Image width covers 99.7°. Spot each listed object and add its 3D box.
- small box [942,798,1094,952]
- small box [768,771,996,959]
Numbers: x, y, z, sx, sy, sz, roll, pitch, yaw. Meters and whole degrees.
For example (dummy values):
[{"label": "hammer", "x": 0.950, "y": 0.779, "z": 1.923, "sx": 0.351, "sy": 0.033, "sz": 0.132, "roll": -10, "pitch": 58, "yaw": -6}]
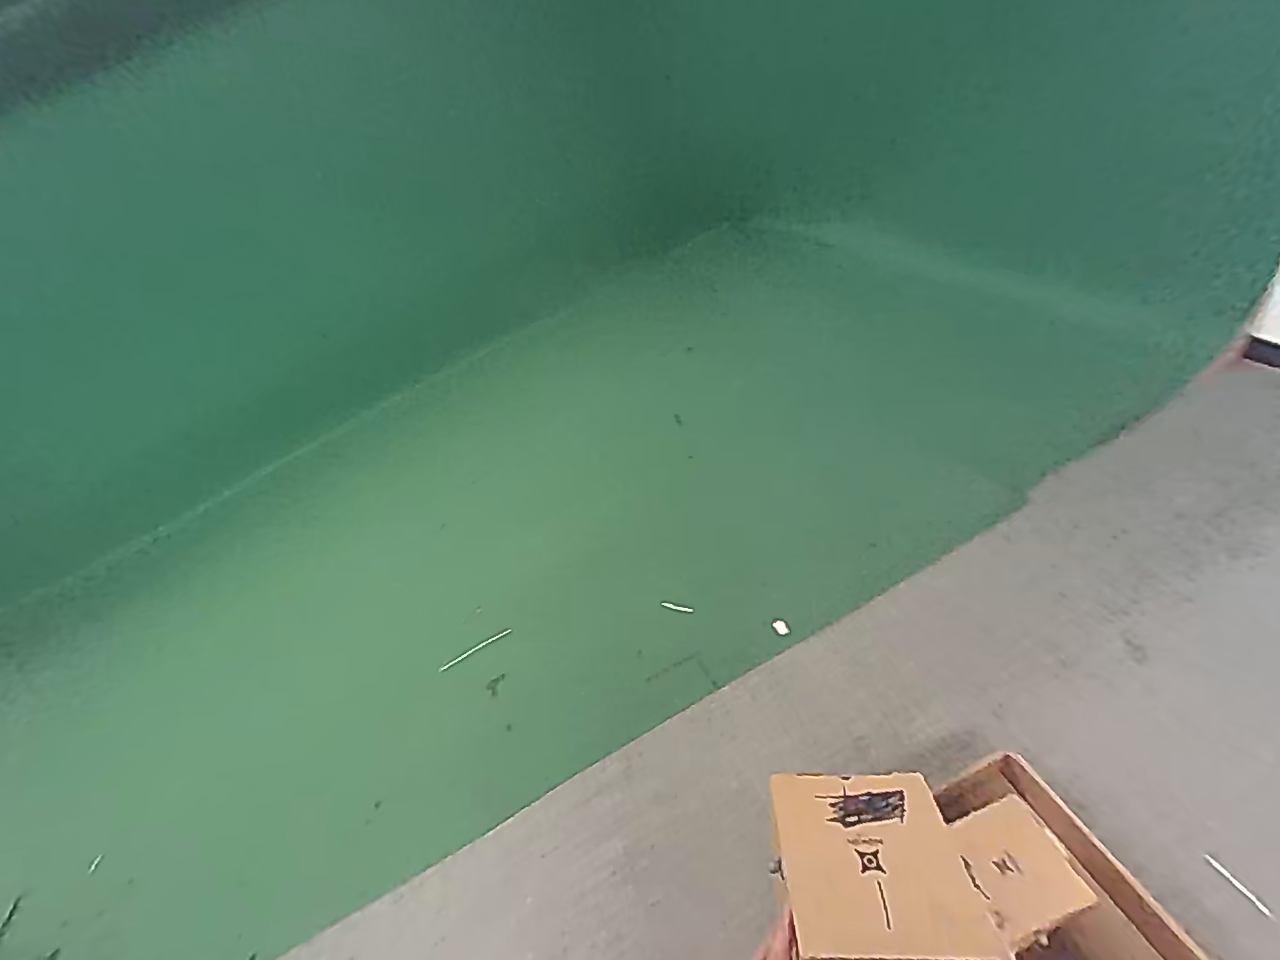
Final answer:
[{"label": "small box", "x": 0.649, "y": 0.712, "z": 0.973, "sx": 0.179, "sy": 0.176, "sz": 0.168, "roll": -25, "pitch": 41, "yaw": 0}, {"label": "small box", "x": 0.227, "y": 0.436, "z": 0.558, "sx": 0.168, "sy": 0.176, "sz": 0.179, "roll": -6, "pitch": 23, "yaw": 6}]
